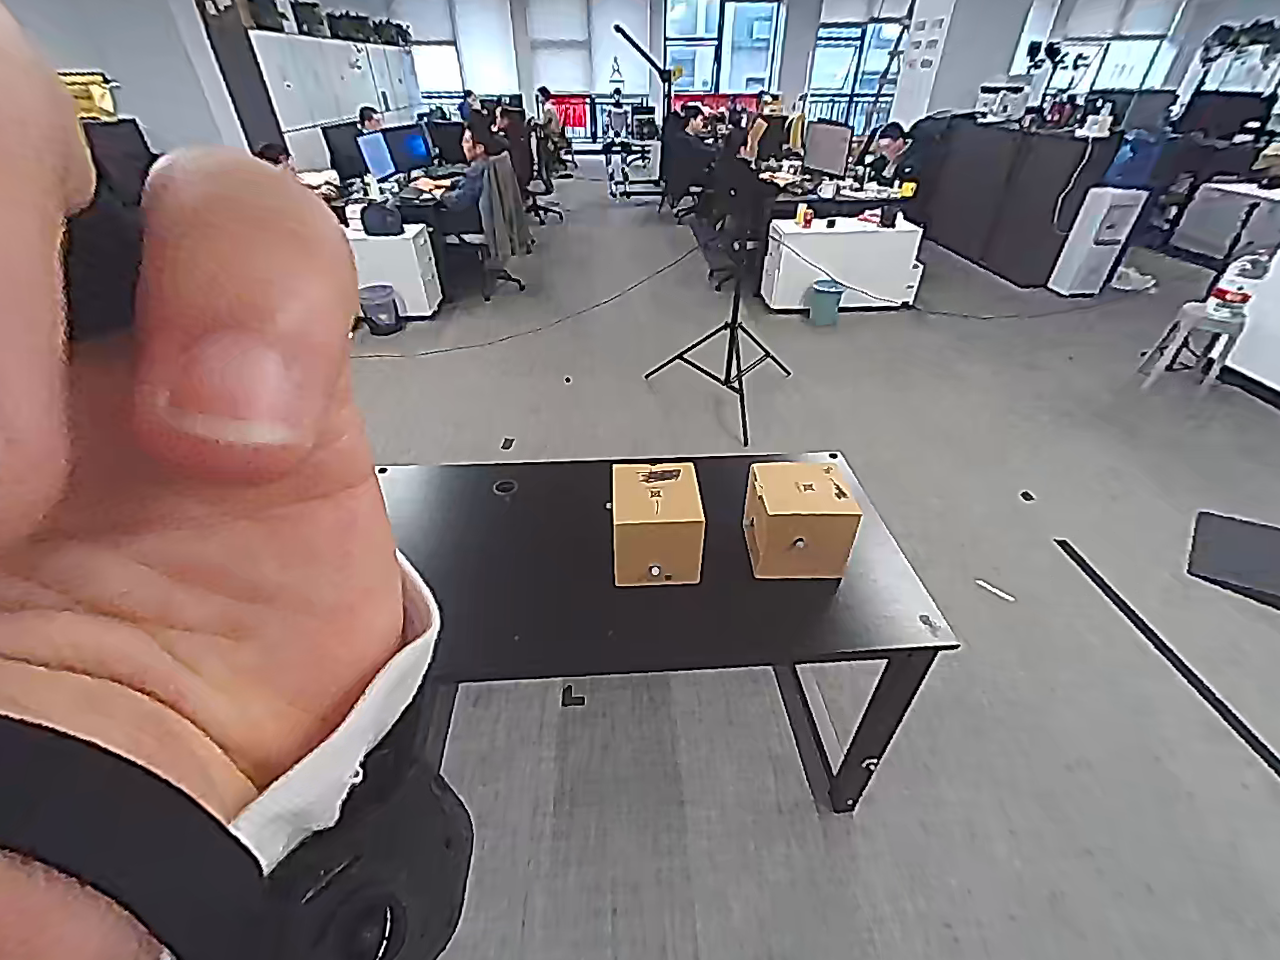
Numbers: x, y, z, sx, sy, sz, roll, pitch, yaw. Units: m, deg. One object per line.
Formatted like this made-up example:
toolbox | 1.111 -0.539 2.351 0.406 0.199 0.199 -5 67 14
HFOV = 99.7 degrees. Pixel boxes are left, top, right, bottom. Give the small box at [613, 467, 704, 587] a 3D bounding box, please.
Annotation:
small box | 0.029 0.091 1.074 0.168 0.176 0.179 -2 37 -2

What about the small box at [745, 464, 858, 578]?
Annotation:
small box | 0.310 0.083 1.082 0.179 0.176 0.168 -1 37 1
